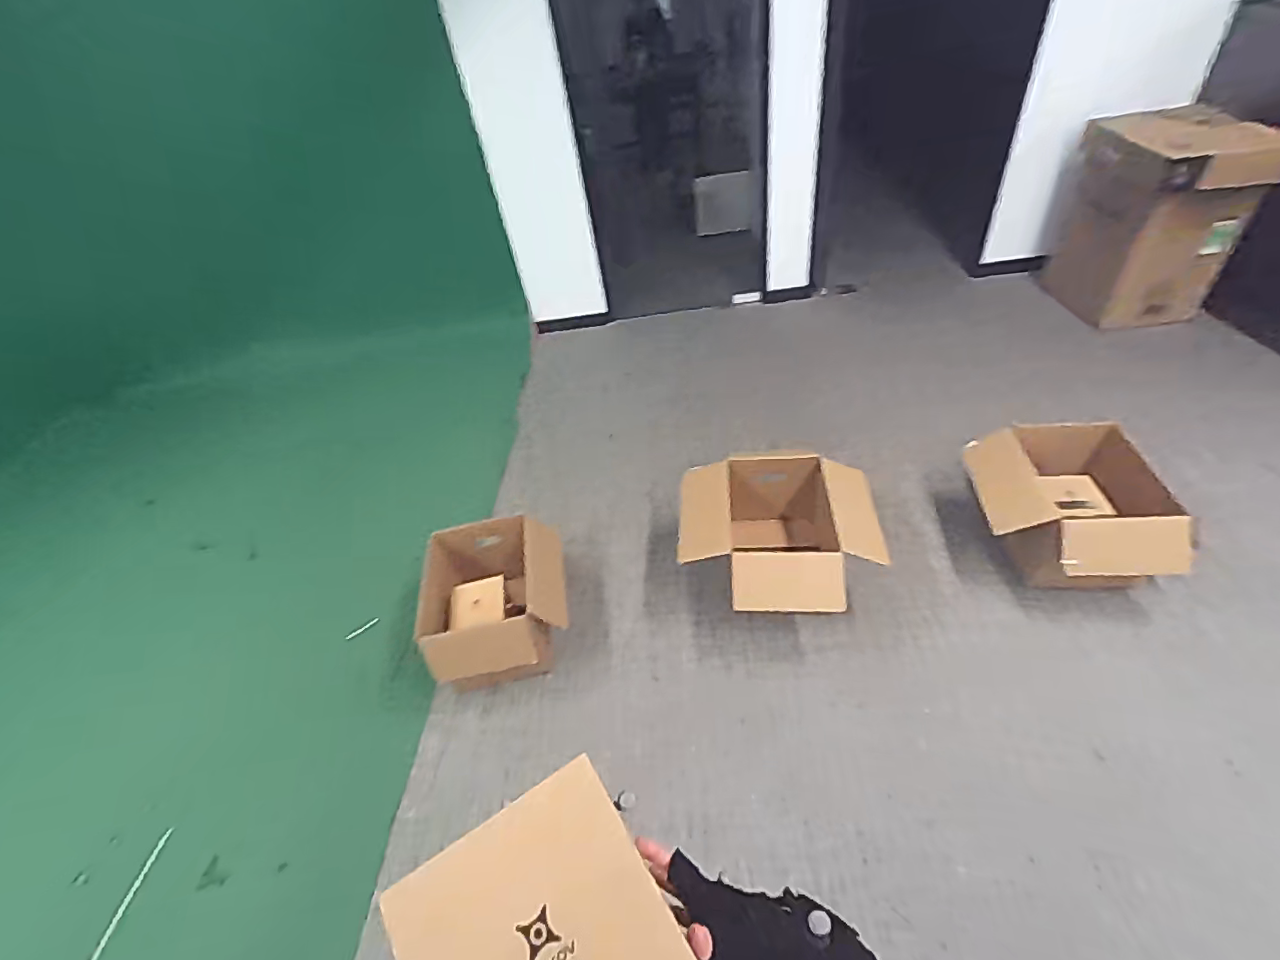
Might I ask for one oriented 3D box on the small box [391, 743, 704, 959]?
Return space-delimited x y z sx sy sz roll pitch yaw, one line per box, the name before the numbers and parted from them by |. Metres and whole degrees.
small box | -0.065 0.345 0.428 0.168 0.176 0.179 -26 62 -18
